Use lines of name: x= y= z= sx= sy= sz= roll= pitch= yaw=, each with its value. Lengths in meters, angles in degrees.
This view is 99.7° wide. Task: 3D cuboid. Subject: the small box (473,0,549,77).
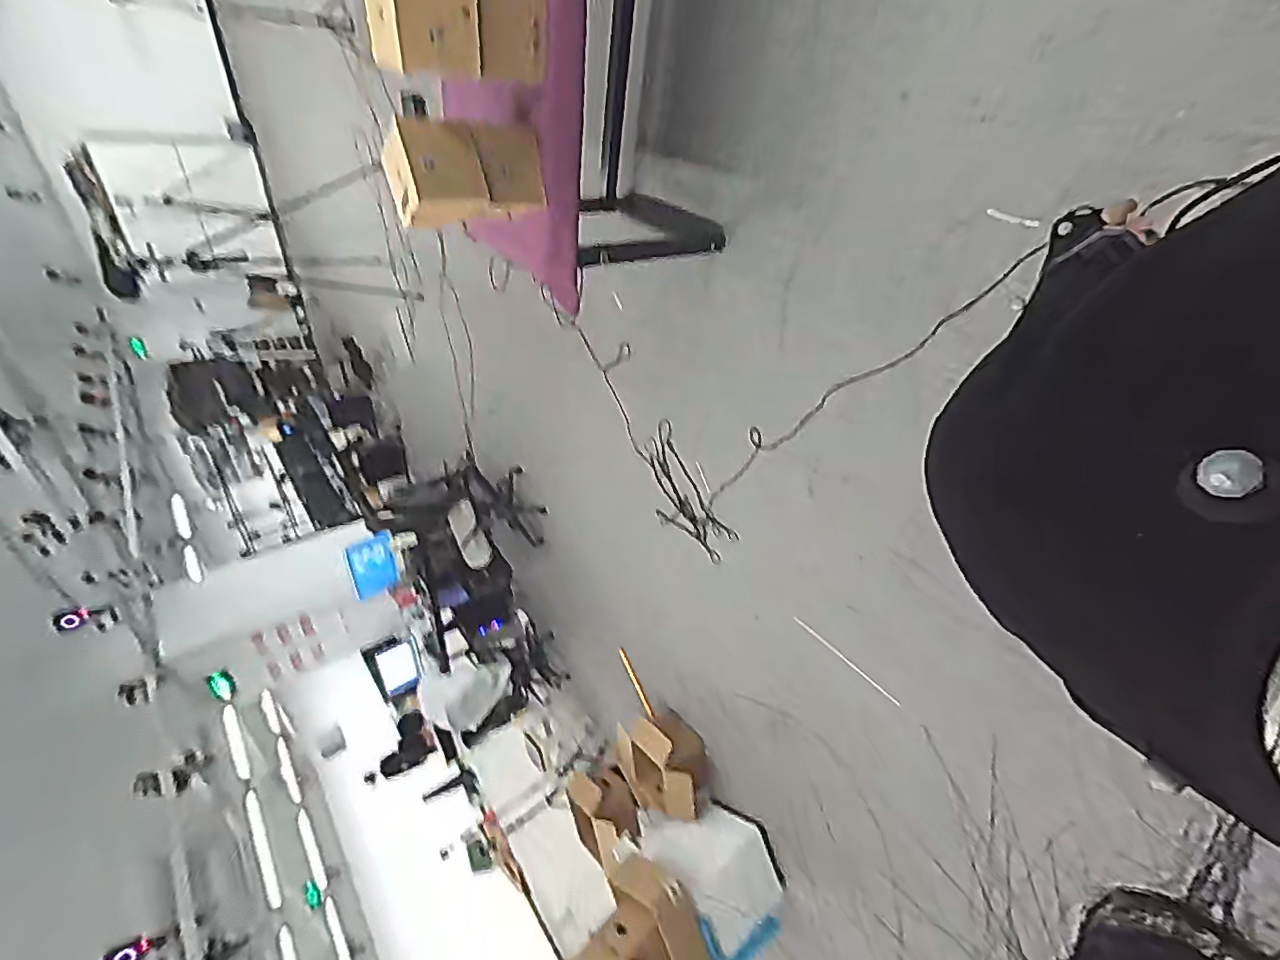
small box: x=-0.315 y=-0.992 z=1.173 sx=0.179 sy=0.176 sz=0.168 roll=43 pitch=140 yaw=33

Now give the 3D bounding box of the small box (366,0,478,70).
small box: x=-0.431 y=-0.932 z=1.075 sx=0.179 sy=0.176 sz=0.168 roll=44 pitch=141 yaw=35

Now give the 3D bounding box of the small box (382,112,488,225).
small box: x=-0.472 y=-0.714 z=1.252 sx=0.168 sy=0.176 sz=0.179 roll=-2 pitch=106 yaw=55

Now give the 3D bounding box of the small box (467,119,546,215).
small box: x=-0.353 y=-0.776 z=1.350 sx=0.168 sy=0.176 sz=0.179 roll=16 pitch=121 yaw=50
